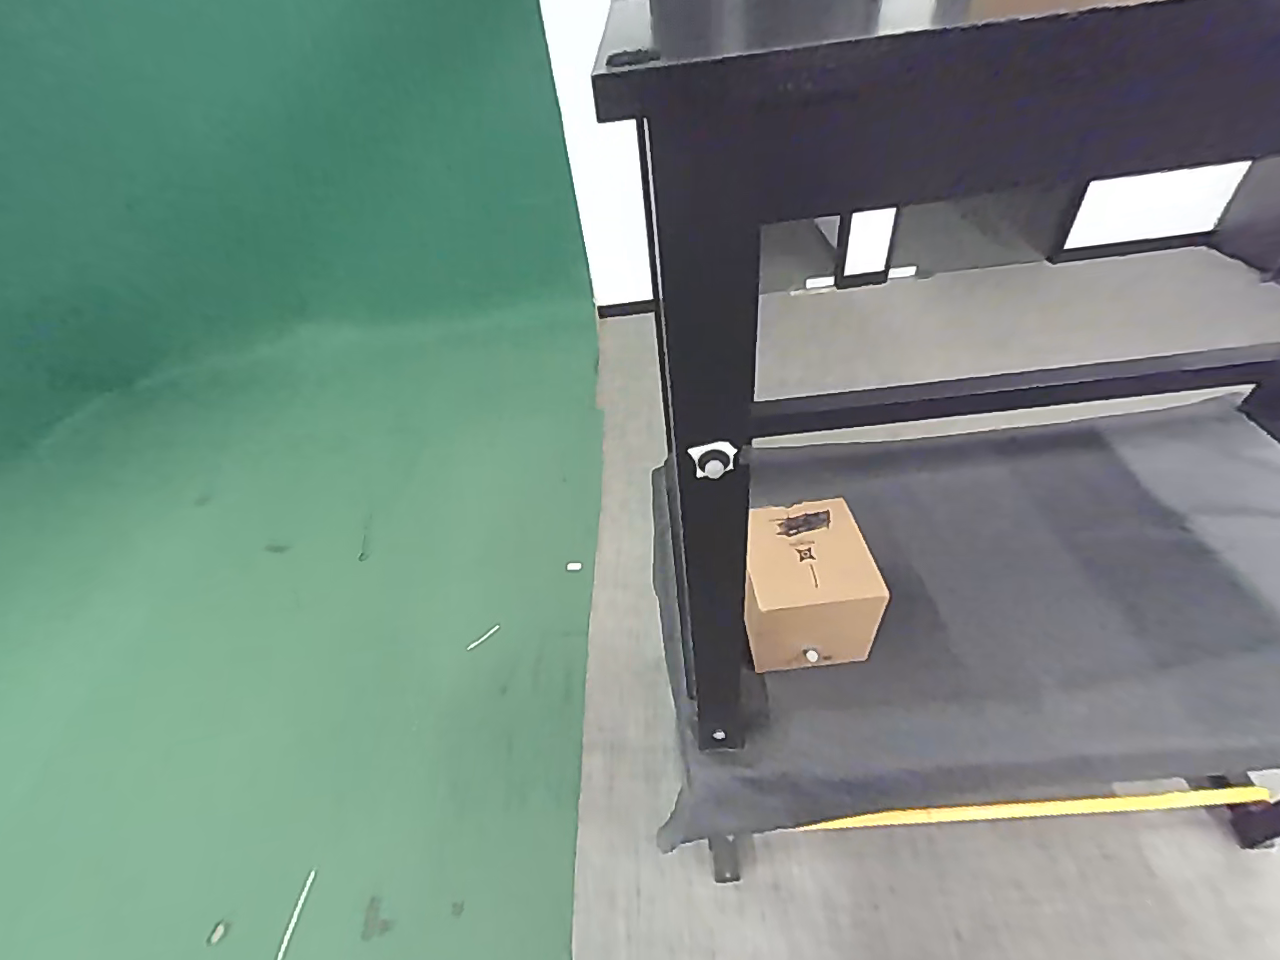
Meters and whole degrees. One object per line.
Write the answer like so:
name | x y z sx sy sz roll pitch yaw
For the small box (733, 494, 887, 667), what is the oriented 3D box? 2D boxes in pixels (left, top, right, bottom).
small box | 0.232 0.147 0.790 0.168 0.176 0.179 -8 43 2
